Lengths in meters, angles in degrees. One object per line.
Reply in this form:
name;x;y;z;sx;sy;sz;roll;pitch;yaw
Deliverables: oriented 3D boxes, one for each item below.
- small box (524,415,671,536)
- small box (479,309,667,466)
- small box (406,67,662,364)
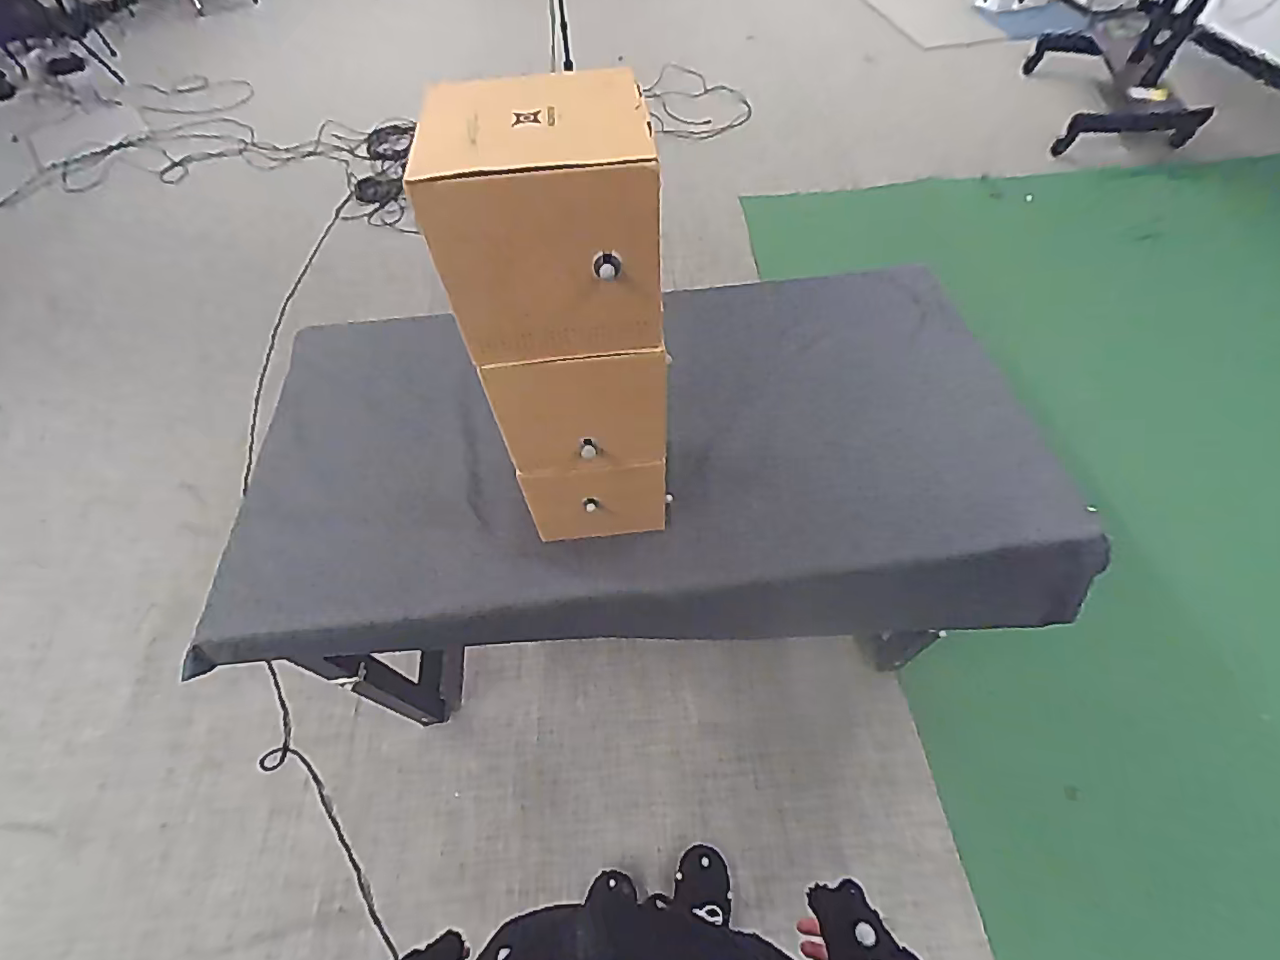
small box;-0.059;-0.039;0.742;0.179;0.176;0.168;-7;57;-4
small box;-0.066;-0.131;0.608;0.179;0.176;0.168;-5;56;-1
small box;-0.076;-0.224;0.475;0.179;0.176;0.168;-7;56;-1
